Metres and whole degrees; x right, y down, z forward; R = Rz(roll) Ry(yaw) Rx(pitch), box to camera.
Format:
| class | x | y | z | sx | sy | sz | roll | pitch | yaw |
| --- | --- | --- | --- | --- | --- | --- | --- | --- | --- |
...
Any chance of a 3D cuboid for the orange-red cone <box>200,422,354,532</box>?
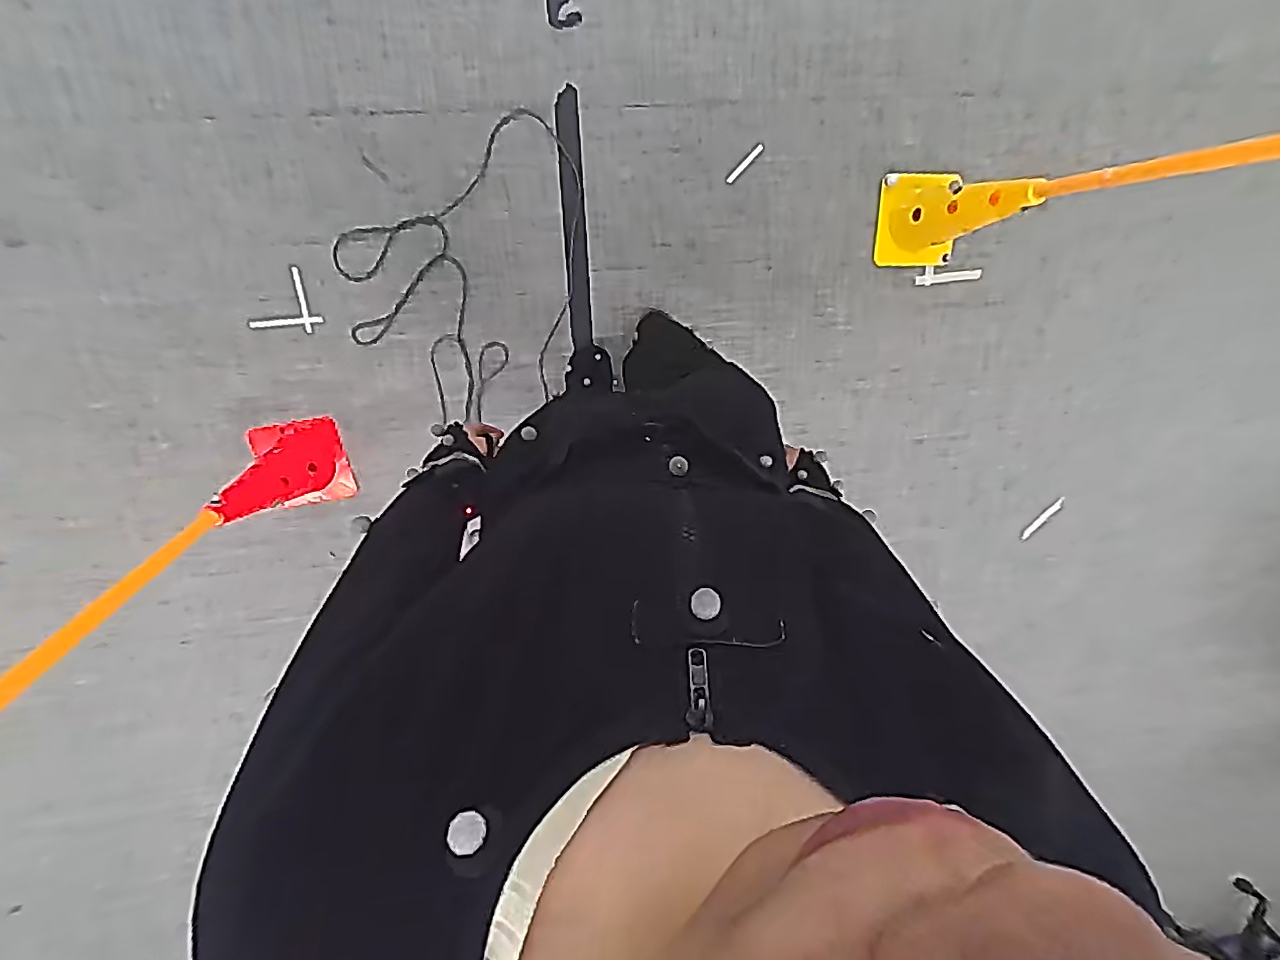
| class | x | y | z | sx | sy | sz | roll | pitch | yaw |
| --- | --- | --- | --- | --- | --- | --- | --- | --- | --- |
| orange-red cone | -0.768 | 0.020 | 1.103 | 0.199 | 0.360 | 0.198 | -10 | 109 | -6 |
